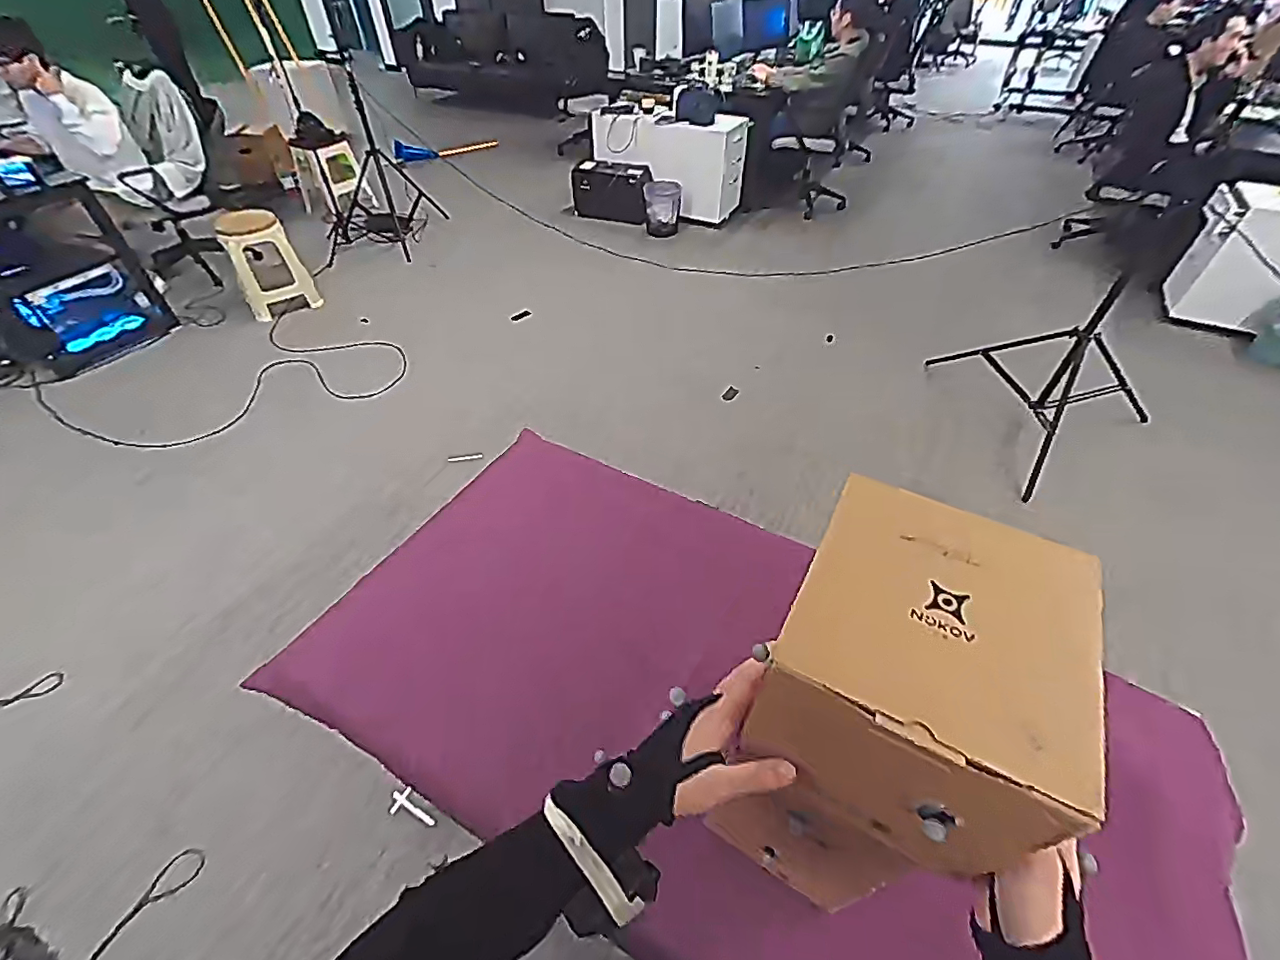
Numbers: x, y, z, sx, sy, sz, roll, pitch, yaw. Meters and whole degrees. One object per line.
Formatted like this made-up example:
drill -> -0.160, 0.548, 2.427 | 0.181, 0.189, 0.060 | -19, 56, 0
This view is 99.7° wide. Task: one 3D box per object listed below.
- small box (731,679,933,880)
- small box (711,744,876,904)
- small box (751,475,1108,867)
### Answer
small box -> 0.198, 0.233, 0.517 | 0.168, 0.176, 0.179 | 24, 51, 22
small box -> 0.194, 0.350, 0.632 | 0.168, 0.176, 0.179 | 25, 50, 22
small box -> 0.189, 0.134, 0.387 | 0.168, 0.176, 0.179 | 22, 49, 20
